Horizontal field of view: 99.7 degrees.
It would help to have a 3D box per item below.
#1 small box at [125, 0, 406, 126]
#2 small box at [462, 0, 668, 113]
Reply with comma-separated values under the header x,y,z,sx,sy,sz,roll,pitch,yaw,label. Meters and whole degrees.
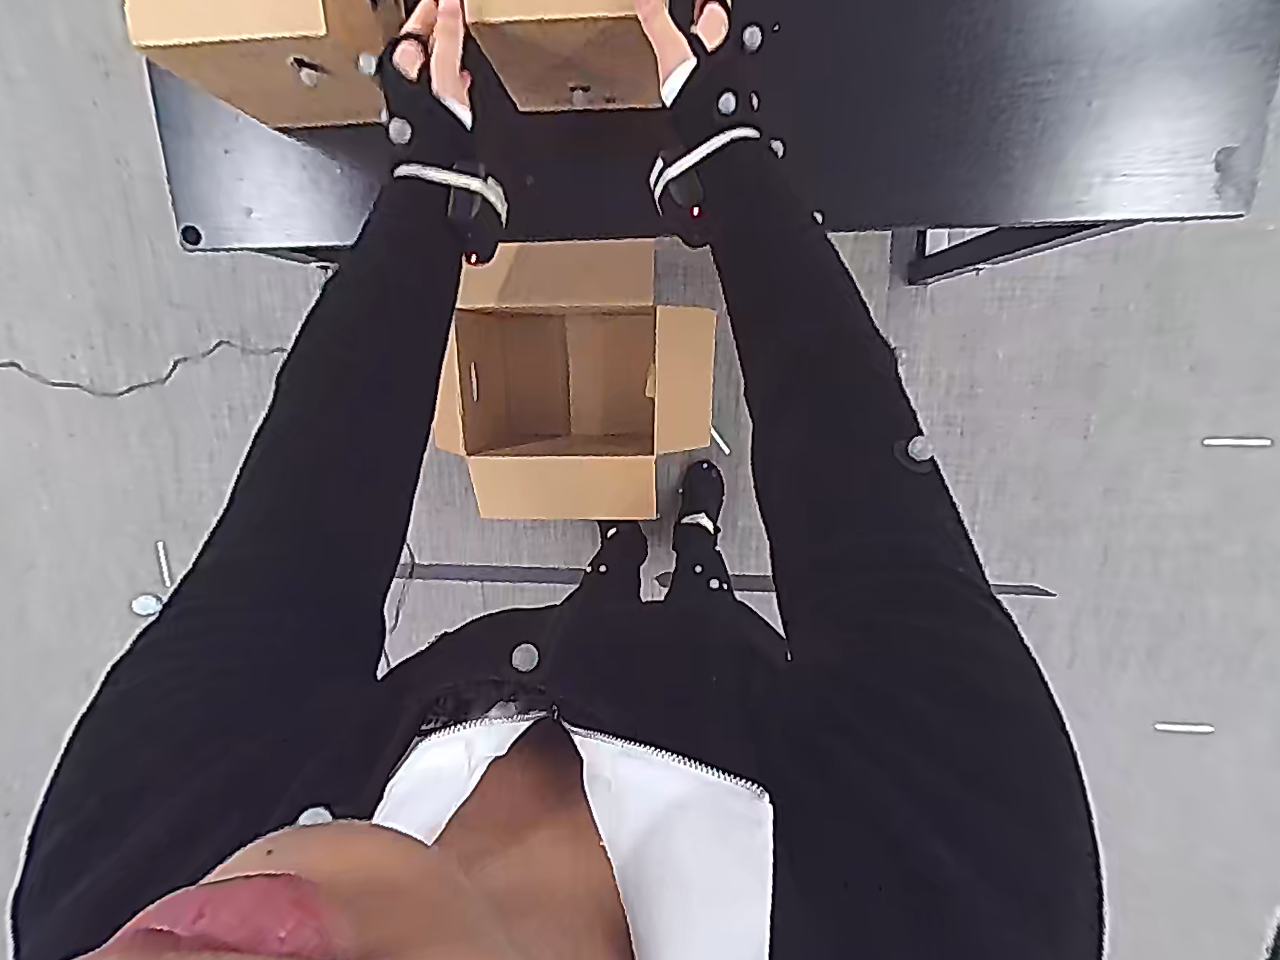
x,y,z,sx,sy,sz,roll,pitch,yaw,label
-0.344,-0.466,0.518,0.179,0.176,0.168,-1,102,3,small box
-0.059,-0.476,0.501,0.168,0.176,0.179,1,103,4,small box
